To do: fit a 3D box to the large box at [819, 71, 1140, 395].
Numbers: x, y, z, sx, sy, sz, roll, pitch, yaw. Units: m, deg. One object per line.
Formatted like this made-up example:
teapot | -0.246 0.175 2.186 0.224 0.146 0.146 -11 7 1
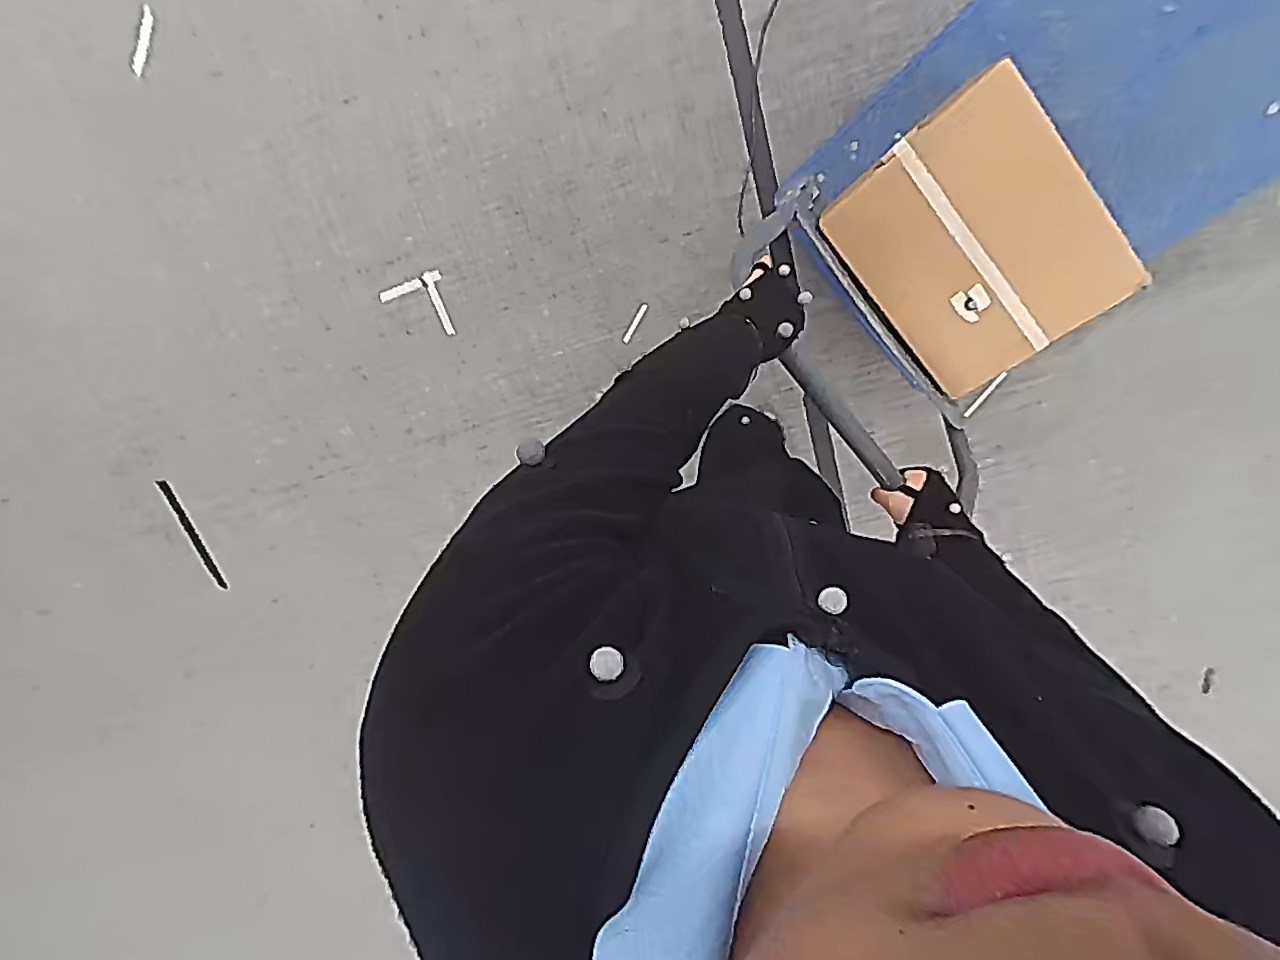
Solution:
large box | 0.581 -0.441 1.006 0.320 0.320 0.408 -36 102 33
